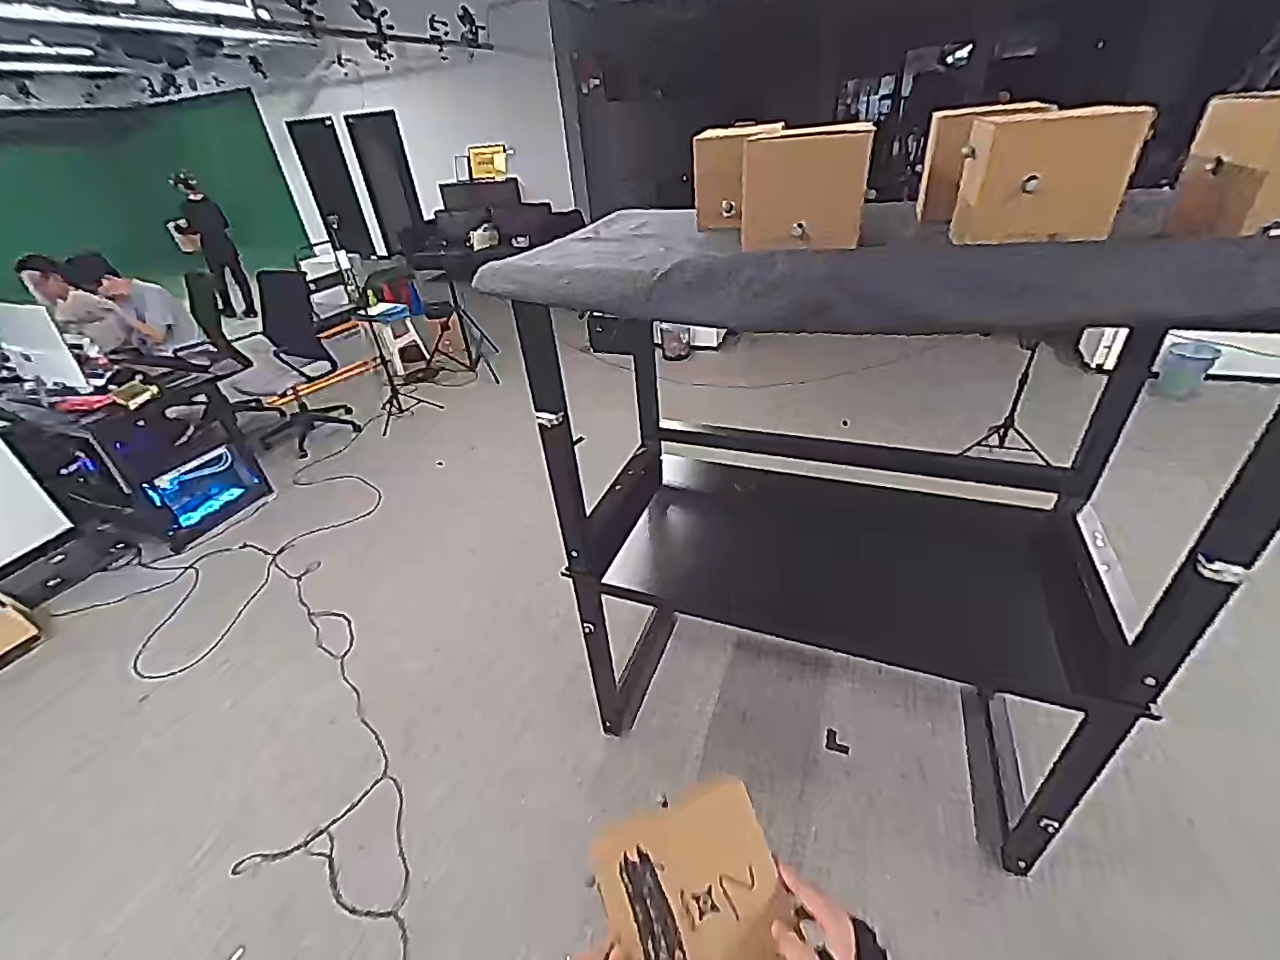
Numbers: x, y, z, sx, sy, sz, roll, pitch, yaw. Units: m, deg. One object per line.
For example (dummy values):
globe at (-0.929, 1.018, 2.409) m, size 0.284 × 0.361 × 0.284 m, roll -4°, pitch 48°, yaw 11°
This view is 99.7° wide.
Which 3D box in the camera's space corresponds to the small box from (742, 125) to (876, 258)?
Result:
small box at (0.268, -0.459, 0.864) m, size 0.179 × 0.176 × 0.168 m, roll 9°, pitch 36°, yaw 19°

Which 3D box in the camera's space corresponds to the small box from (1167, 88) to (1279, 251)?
small box at (0.809, -0.379, 0.657) m, size 0.168 × 0.176 × 0.179 m, roll 5°, pitch 34°, yaw 16°

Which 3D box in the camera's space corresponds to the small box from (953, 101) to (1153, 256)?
small box at (0.557, -0.419, 0.761) m, size 0.168 × 0.176 × 0.179 m, roll 7°, pitch 35°, yaw 19°

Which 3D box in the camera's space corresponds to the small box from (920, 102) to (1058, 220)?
small box at (0.622, -0.582, 0.990) m, size 0.179 × 0.176 × 0.168 m, roll 9°, pitch 37°, yaw 21°

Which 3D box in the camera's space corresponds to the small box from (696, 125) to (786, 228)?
small box at (0.213, -0.630, 1.126) m, size 0.168 × 0.176 × 0.179 m, roll 4°, pitch 35°, yaw 16°
